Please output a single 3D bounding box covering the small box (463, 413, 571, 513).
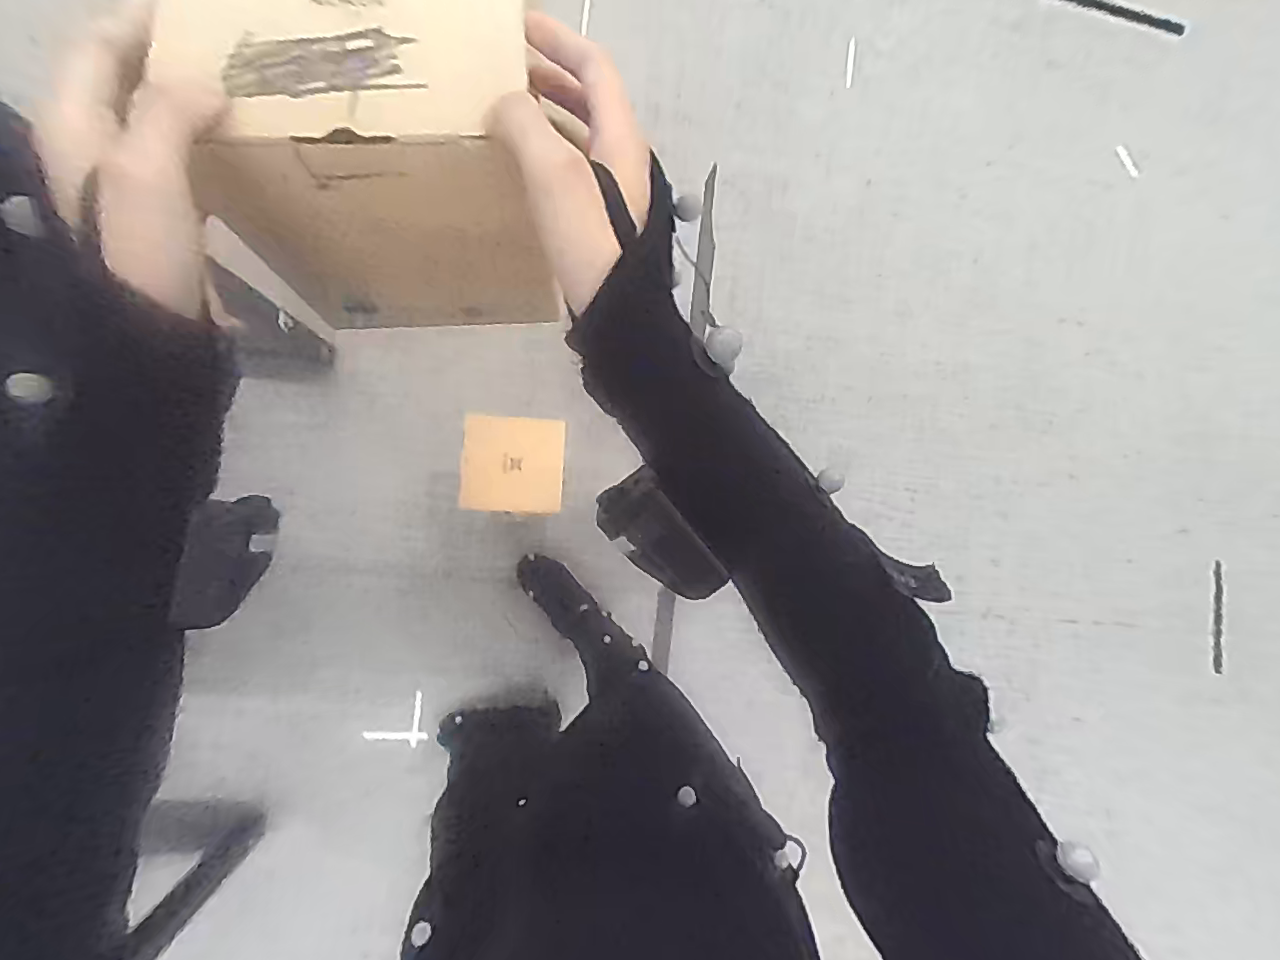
[{"bbox_3d":[-0.225,-0.027,1.012,0.179,0.176,0.168,3,87,-9],"label":"small box"}]
